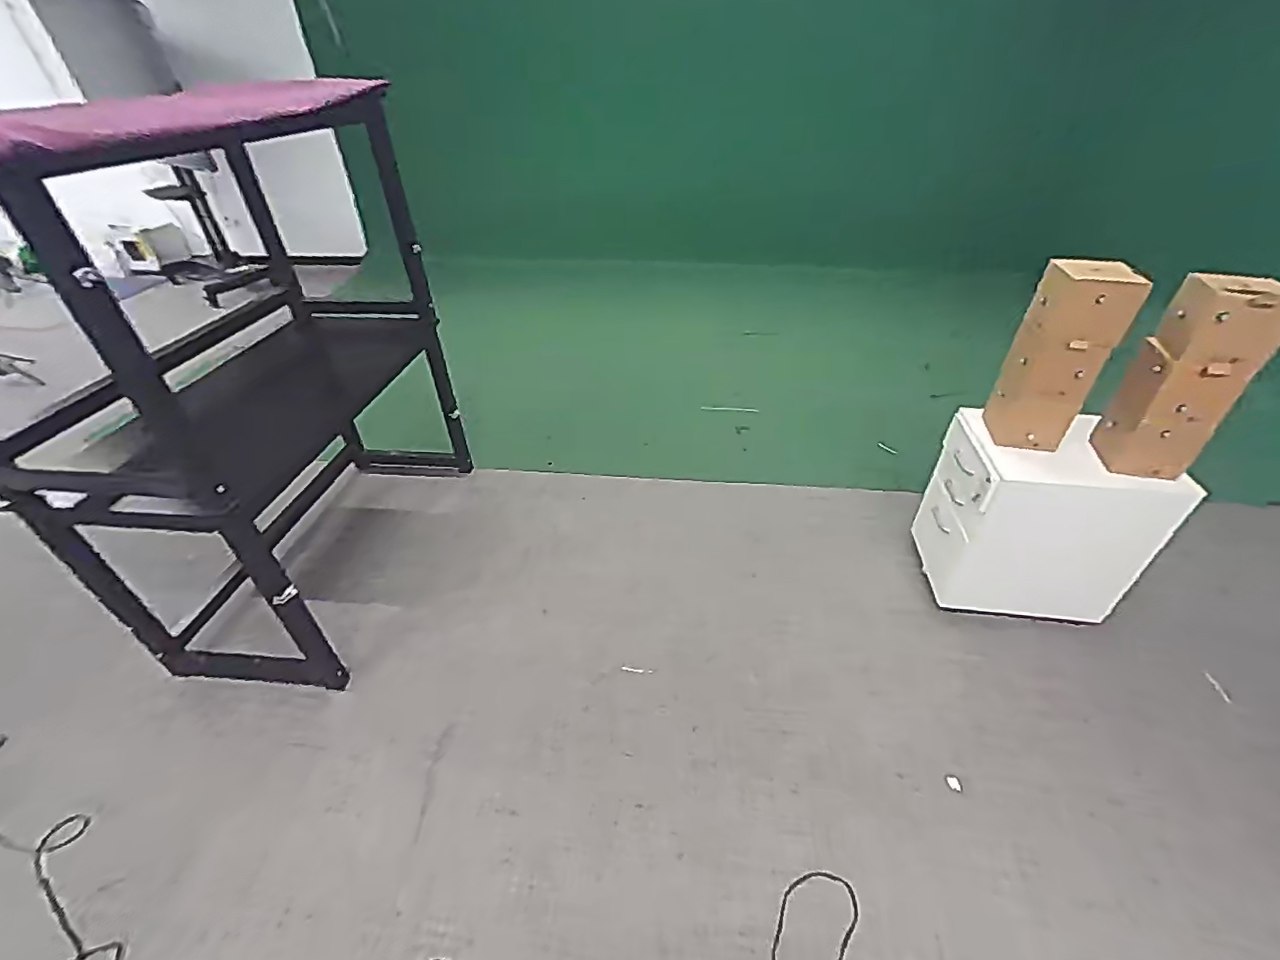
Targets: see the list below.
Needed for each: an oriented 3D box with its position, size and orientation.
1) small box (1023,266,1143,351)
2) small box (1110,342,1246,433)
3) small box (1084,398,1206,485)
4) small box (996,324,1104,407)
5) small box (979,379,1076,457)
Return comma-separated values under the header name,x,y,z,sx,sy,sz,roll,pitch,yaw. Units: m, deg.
name,x,y,z,sx,sy,sz,roll,pitch,yaw
small box,1.155,-0.454,1.434,0.179,0.176,0.168,8,40,9
small box,1.398,-0.244,1.425,0.168,0.176,0.179,8,39,12
small box,1.402,-0.111,1.519,0.168,0.176,0.179,8,38,13
small box,1.152,-0.324,1.535,0.168,0.176,0.179,9,38,10
small box,1.156,-0.194,1.632,0.168,0.176,0.179,8,40,11
